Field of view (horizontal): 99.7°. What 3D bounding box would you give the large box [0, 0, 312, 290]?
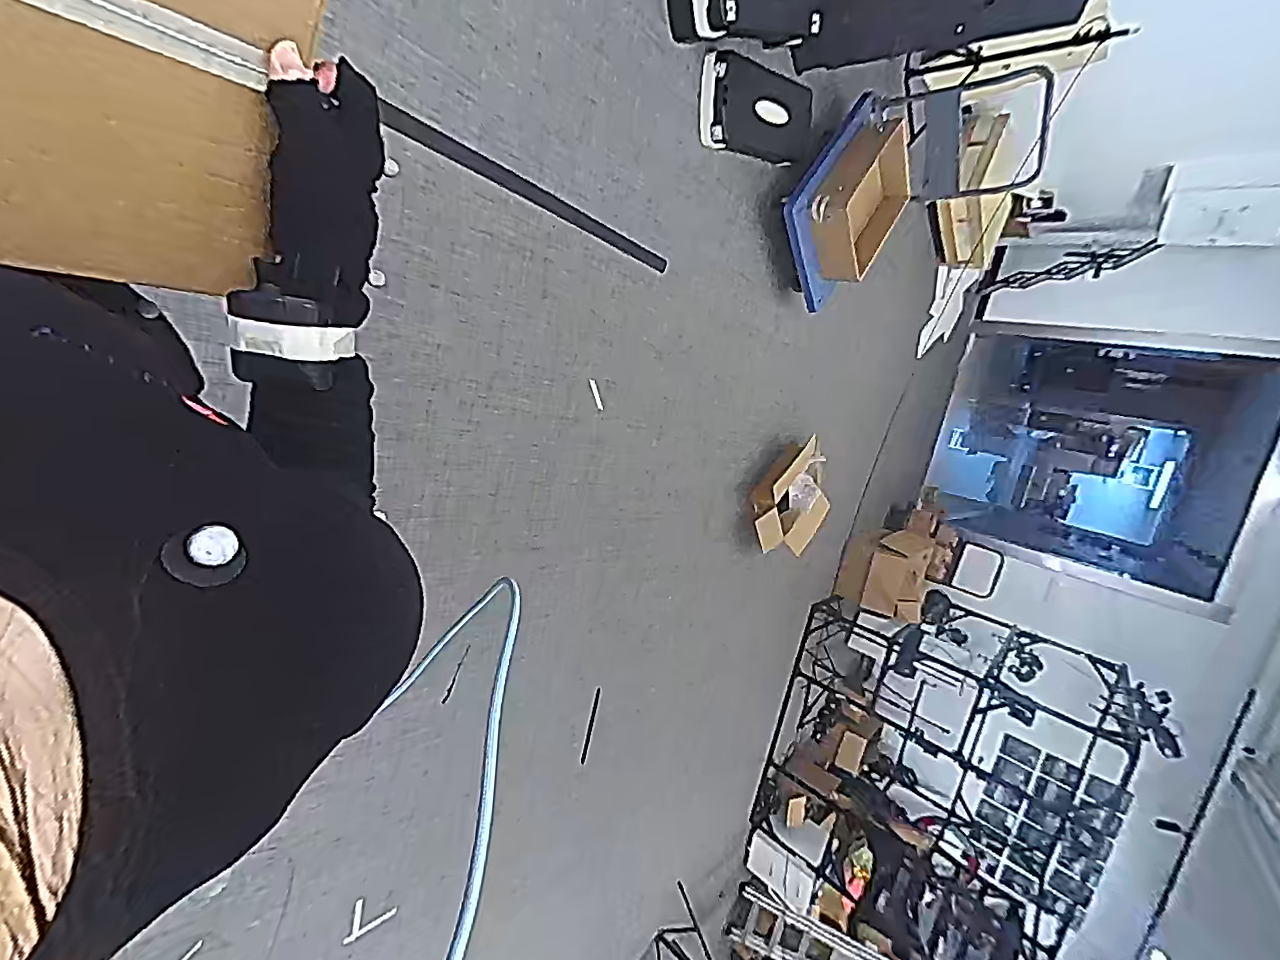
[{"bbox_3d":[-0.418,-0.336,0.242,0.408,0.320,0.320,-7,145,-48],"label":"large box"}]
